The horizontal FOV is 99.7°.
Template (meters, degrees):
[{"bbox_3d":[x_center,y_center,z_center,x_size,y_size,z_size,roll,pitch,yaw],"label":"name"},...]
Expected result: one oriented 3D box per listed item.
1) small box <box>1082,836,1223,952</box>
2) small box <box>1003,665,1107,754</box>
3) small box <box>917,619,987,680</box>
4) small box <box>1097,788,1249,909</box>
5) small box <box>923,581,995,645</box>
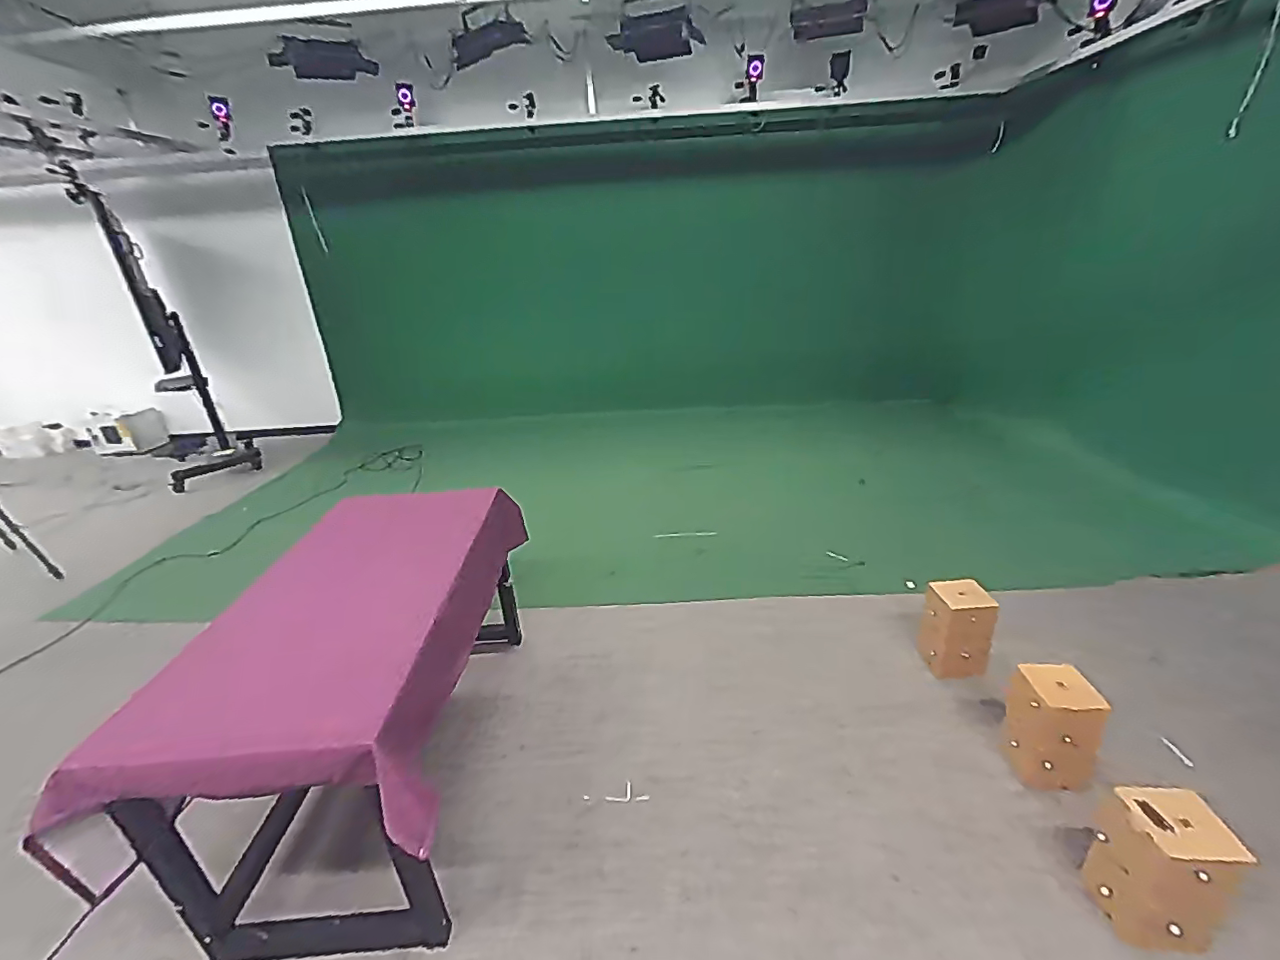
[{"bbox_3d":[1.206,0.988,1.294,0.179,0.176,0.168,-2,24,5],"label":"small box"},{"bbox_3d":[1.218,0.676,1.602,0.168,0.176,0.179,-1,23,6],"label":"small box"},{"bbox_3d":[1.193,0.651,2.082,0.179,0.176,0.168,-3,24,1],"label":"small box"},{"bbox_3d":[1.192,0.836,1.231,0.179,0.176,0.168,0,24,5],"label":"small box"},{"bbox_3d":[1.180,0.500,2.018,0.179,0.176,0.168,-4,24,0],"label":"small box"}]
